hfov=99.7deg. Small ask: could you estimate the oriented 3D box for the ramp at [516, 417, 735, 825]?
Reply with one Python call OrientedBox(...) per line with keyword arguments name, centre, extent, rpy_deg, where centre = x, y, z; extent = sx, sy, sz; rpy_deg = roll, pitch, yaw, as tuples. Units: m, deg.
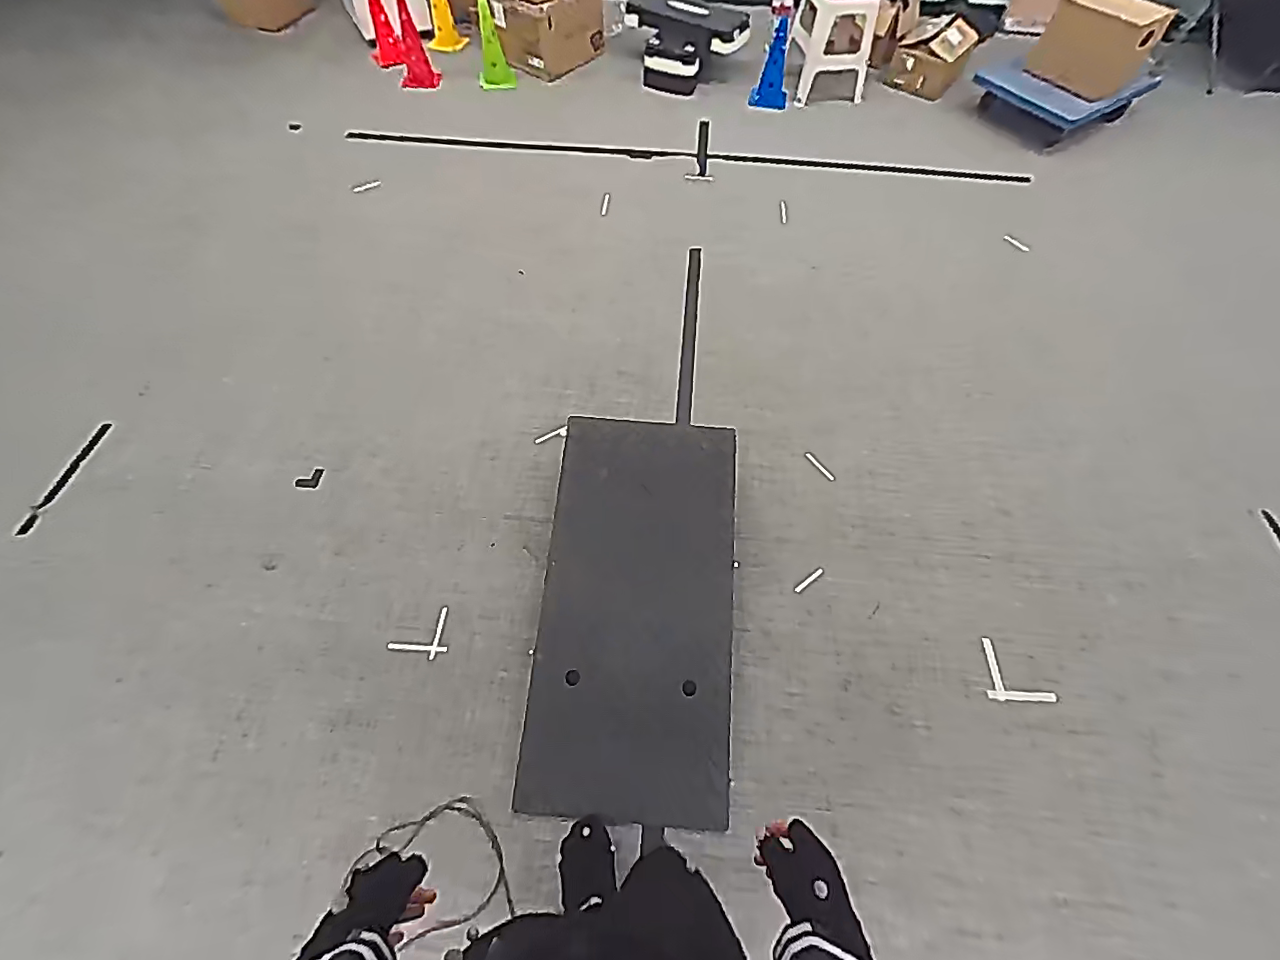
OrientedBox(name="ramp", centre=(-0.002, 0.298, 1.400), extent=(0.509, 0.206, 0.991), rpy_deg=(4, 59, -1))
